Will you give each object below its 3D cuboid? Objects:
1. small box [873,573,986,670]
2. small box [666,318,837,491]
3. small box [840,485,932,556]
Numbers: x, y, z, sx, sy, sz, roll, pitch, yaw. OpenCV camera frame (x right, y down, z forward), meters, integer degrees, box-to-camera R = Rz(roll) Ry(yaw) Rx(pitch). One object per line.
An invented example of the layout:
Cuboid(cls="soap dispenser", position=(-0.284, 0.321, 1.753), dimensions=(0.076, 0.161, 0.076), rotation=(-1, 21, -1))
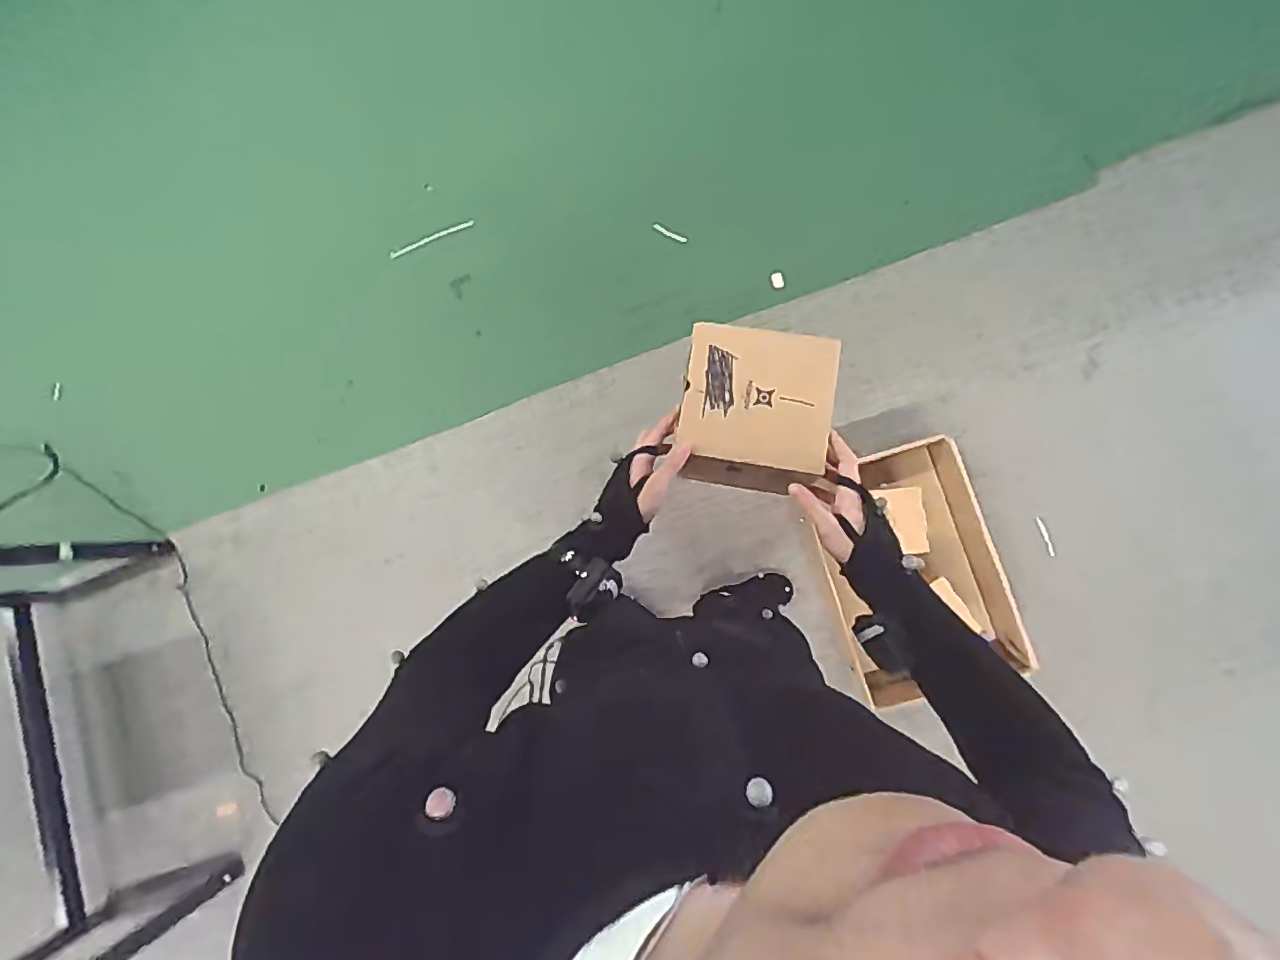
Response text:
Cuboid(cls="small box", position=(0.720, 0.352, 1.374), dimensions=(0.179, 0.176, 0.168), rotation=(-33, 81, 5))
Cuboid(cls="small box", position=(0.136, -0.087, 0.697), dimensions=(0.179, 0.176, 0.168), rotation=(9, 81, 7))
Cuboid(cls="small box", position=(0.629, 0.108, 1.409), dimensions=(0.179, 0.176, 0.168), rotation=(-6, 85, 8))
